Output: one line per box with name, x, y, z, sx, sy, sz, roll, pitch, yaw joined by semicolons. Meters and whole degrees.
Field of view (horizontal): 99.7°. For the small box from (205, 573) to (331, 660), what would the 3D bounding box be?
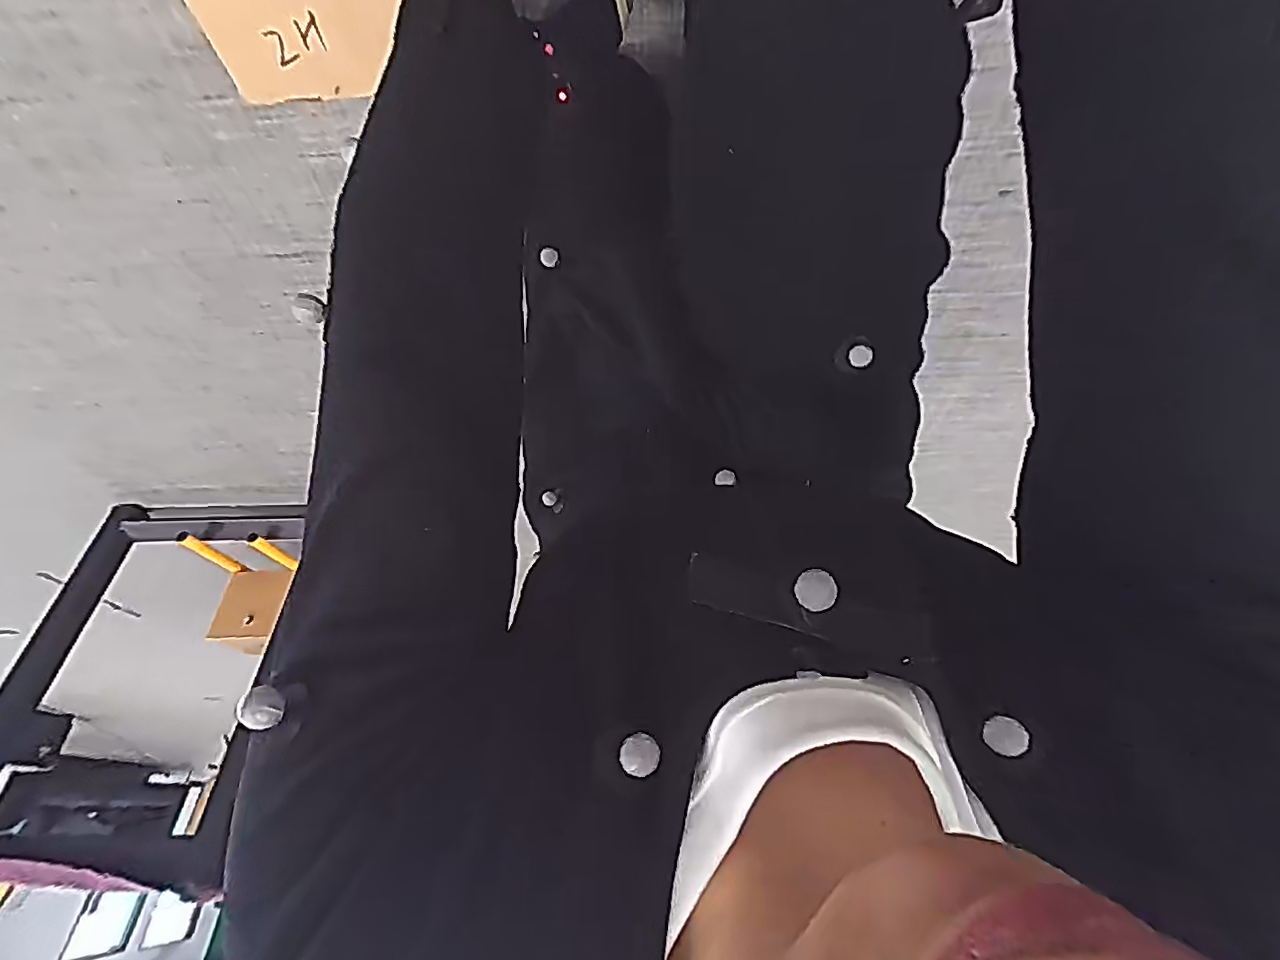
small box;-0.919;0.343;1.356;0.179;0.176;0.168;-3;148;2
